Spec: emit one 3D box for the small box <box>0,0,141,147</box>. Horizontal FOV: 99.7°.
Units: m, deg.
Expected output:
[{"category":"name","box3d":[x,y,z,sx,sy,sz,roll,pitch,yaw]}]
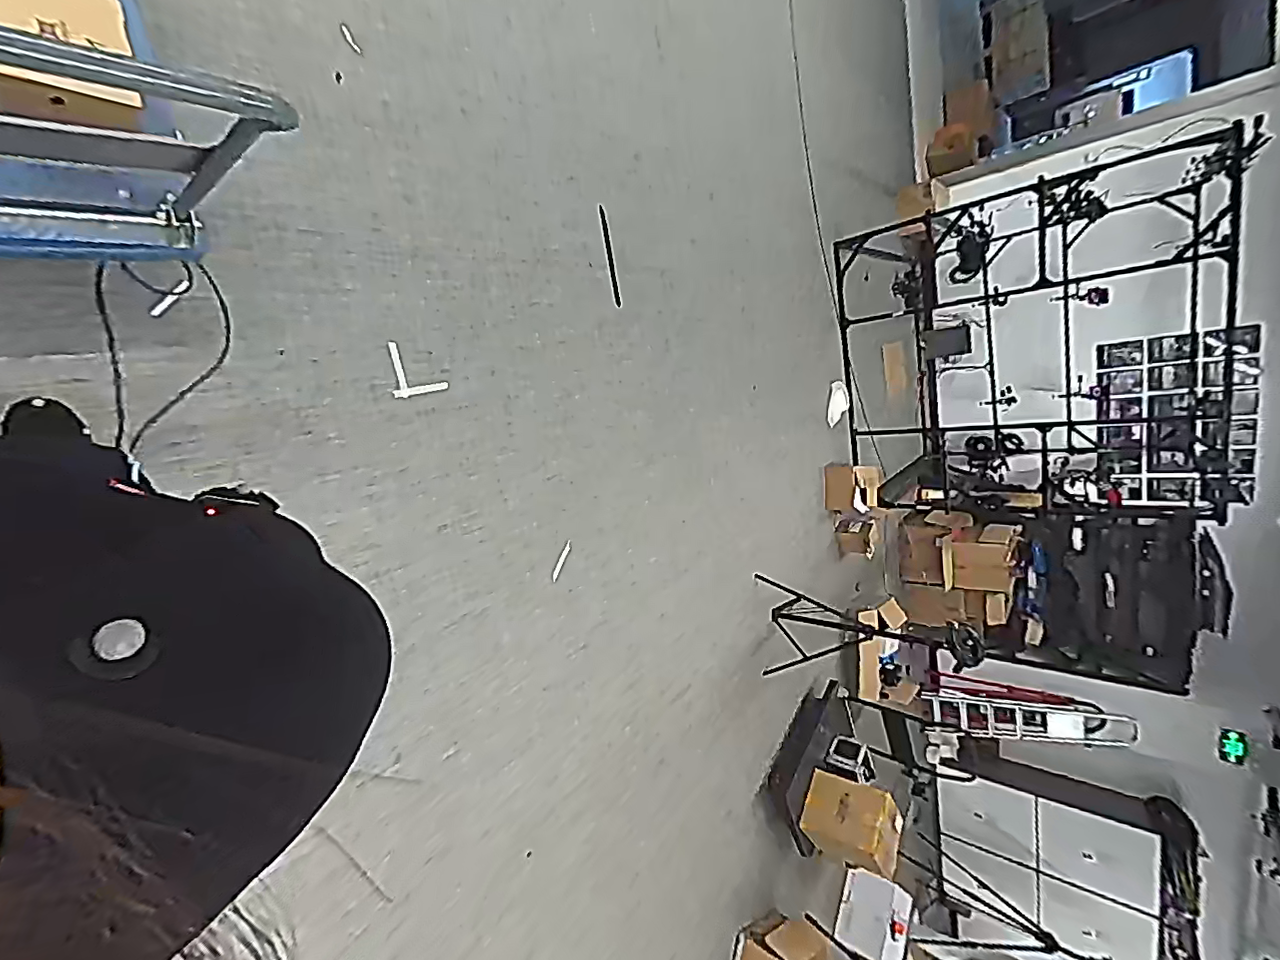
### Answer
[{"category":"small box","box3d":[-0.950,-0.672,0.874,0.179,0.176,0.168,-15,102,-48]}]
